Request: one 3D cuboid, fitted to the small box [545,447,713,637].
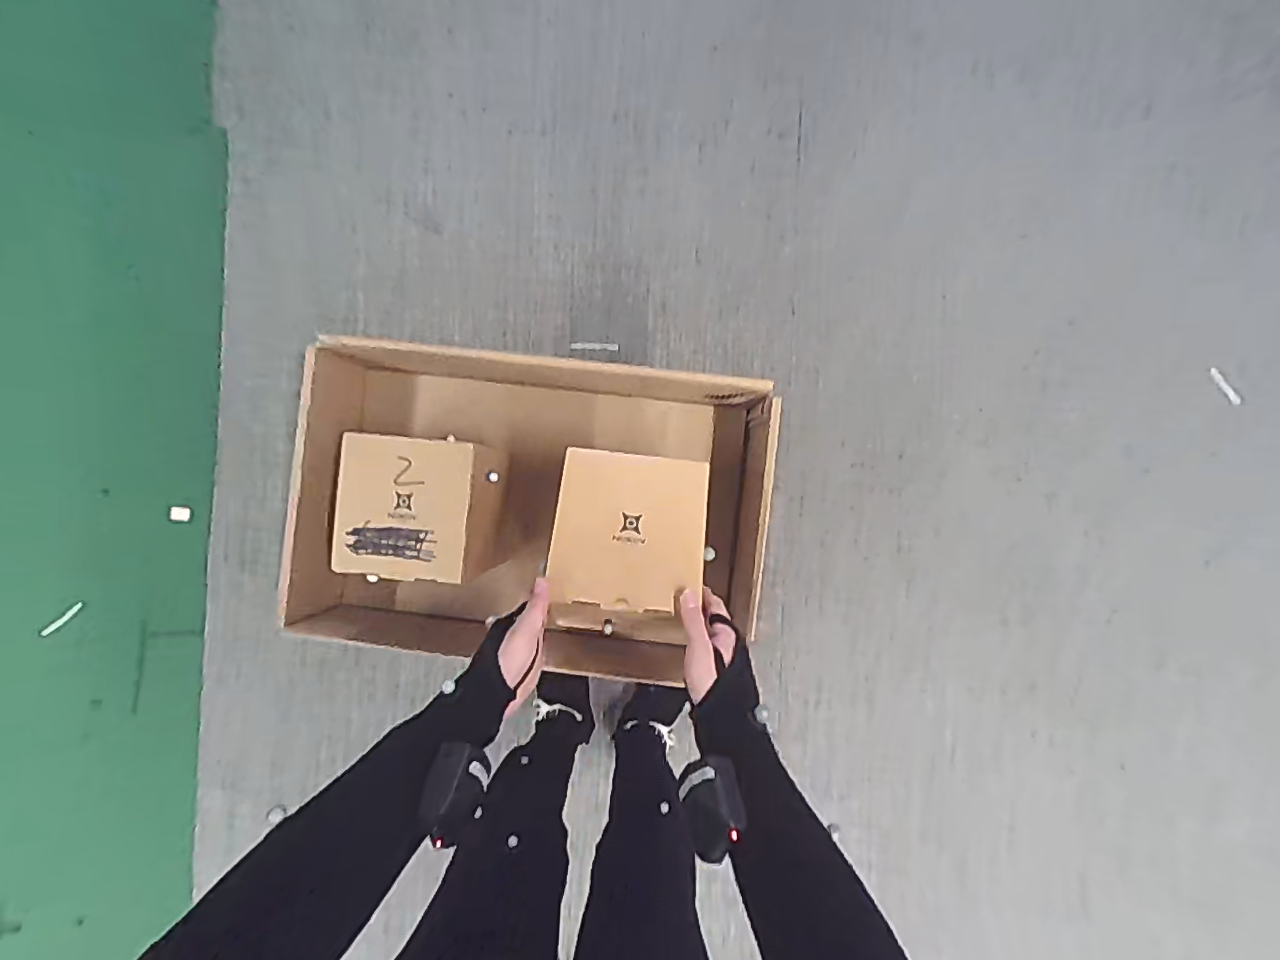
[{"bbox_3d":[-0.014,0.082,0.650,0.168,0.176,0.179,7,67,-1],"label":"small box"}]
